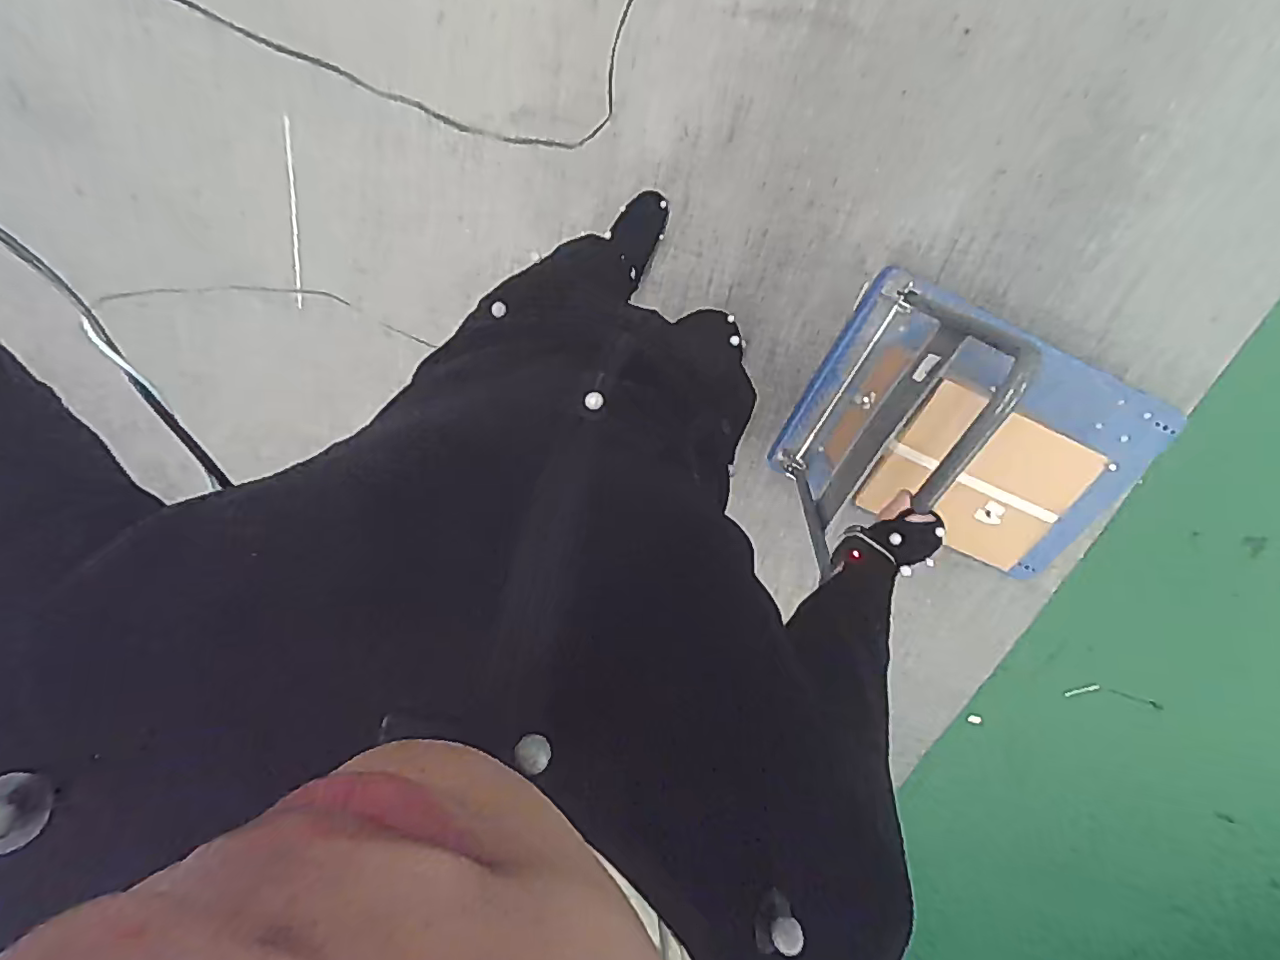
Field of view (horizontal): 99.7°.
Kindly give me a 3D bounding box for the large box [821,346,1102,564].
[{"bbox_3d":[0.708,-0.071,1.269,0.408,0.320,0.320,23,117,-7],"label":"large box"}]
